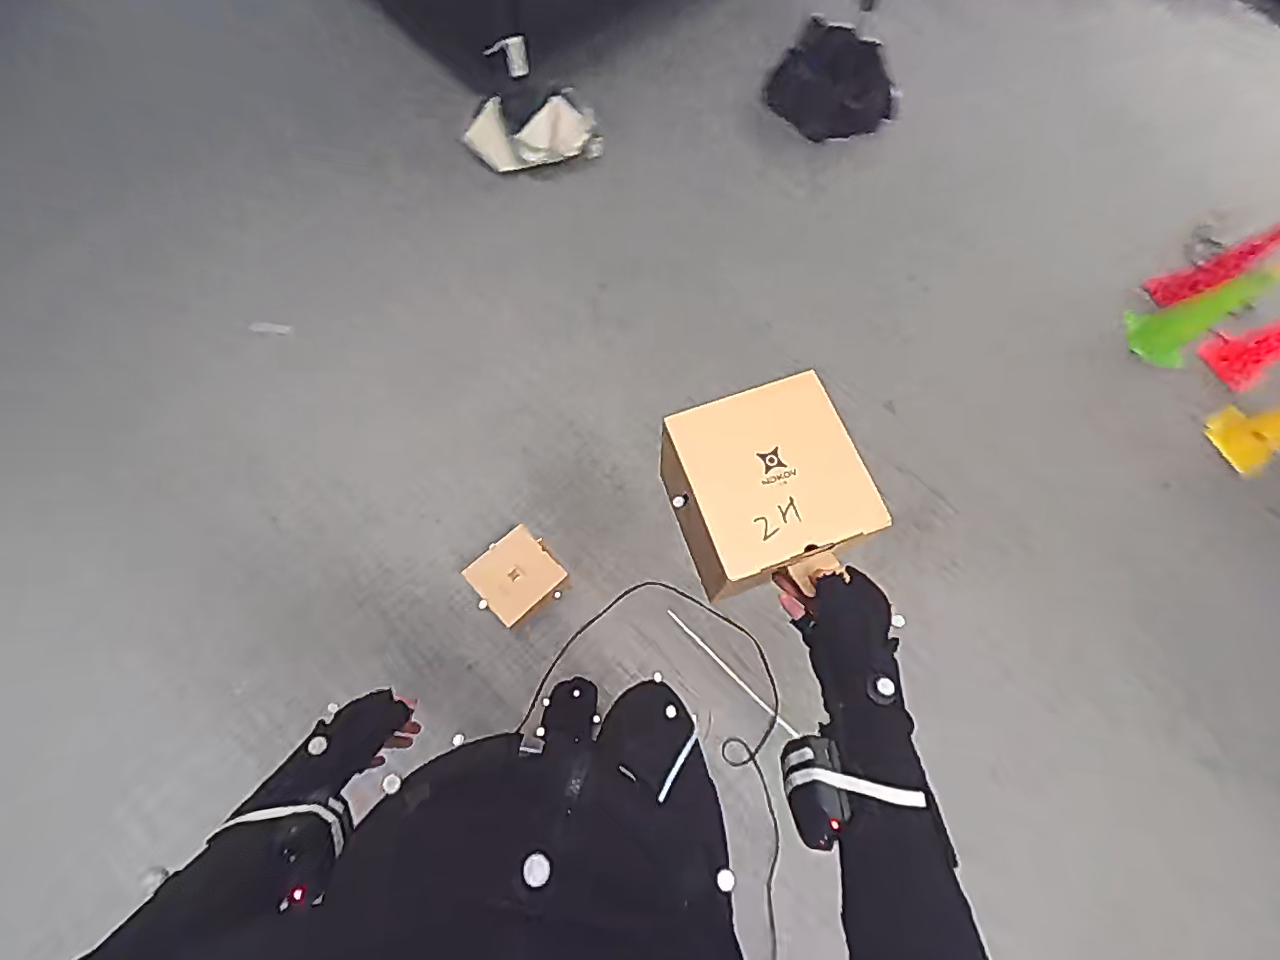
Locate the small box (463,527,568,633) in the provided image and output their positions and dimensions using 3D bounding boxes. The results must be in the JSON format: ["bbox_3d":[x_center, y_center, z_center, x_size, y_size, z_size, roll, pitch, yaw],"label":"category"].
[{"bbox_3d":[-0.289,0.241,1.282,0.179,0.176,0.168,-40,80,-18],"label":"small box"}]

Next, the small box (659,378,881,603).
[{"bbox_3d":[0.123,0.021,0.599,0.168,0.176,0.179,-19,72,-5],"label":"small box"}]
